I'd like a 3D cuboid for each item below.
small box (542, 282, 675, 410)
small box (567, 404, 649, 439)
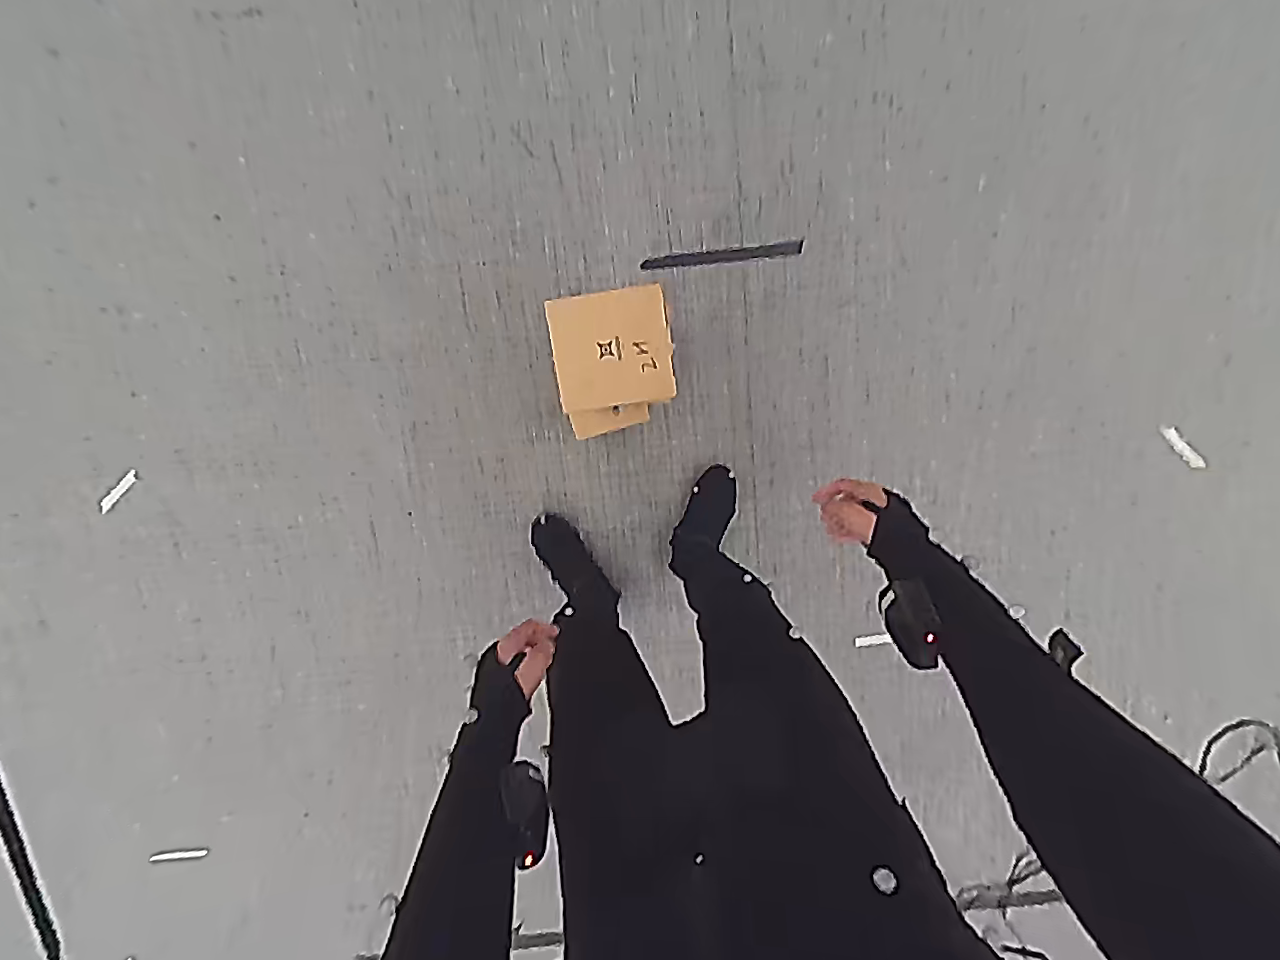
[{"bbox_3d":[-0.044,-0.204,0.861,0.179,0.176,0.168,-9,100,1],"label":"small box"},{"bbox_3d":[-0.083,-0.200,1.194,0.168,0.176,0.179,-16,101,2],"label":"small box"}]
